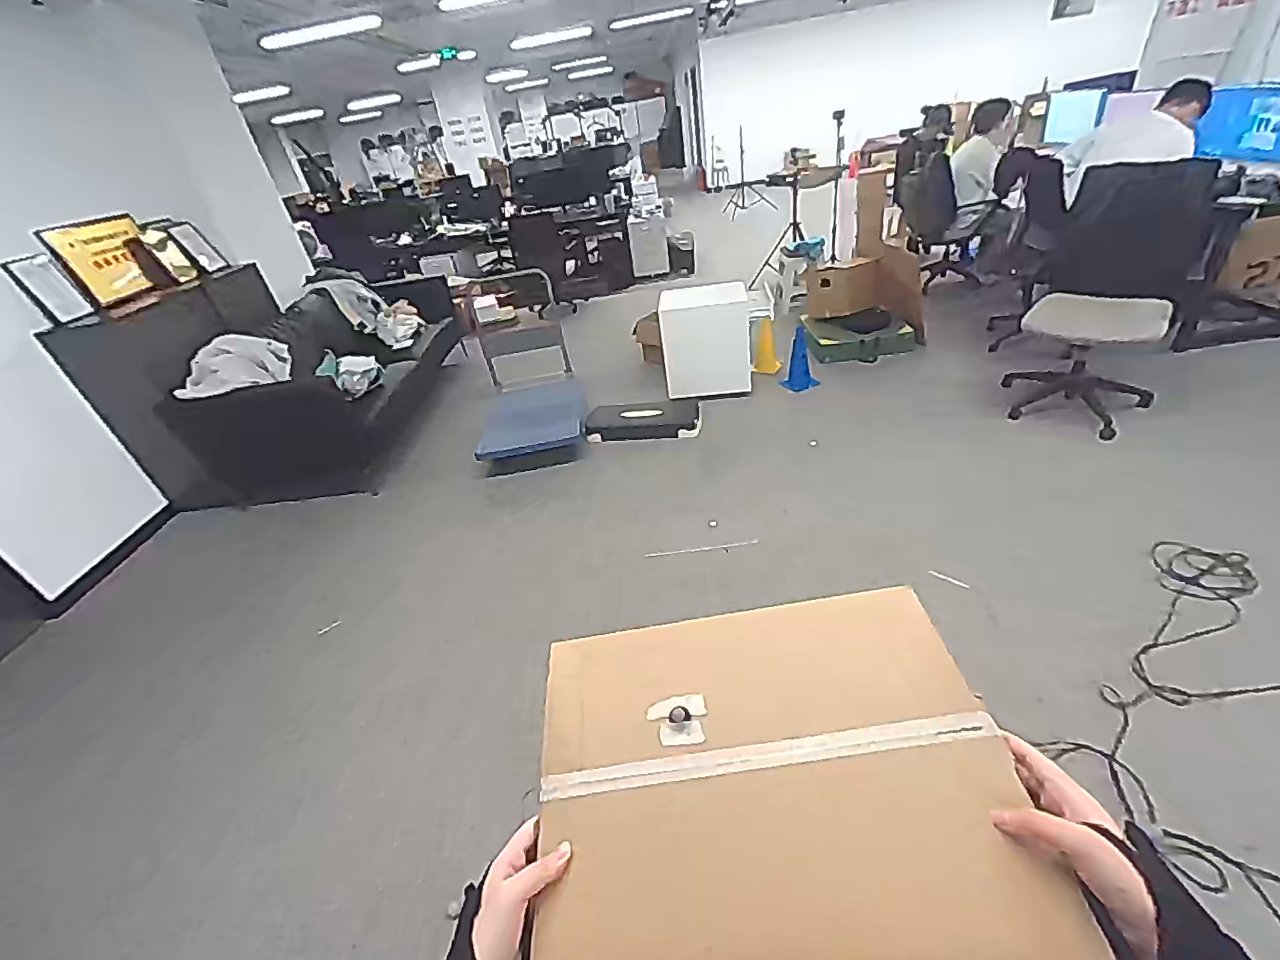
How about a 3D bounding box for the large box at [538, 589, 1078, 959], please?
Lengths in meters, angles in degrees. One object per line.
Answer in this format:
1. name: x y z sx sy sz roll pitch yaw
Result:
1. large box: 0.136 0.368 0.599 0.408 0.320 0.320 -12 41 6
